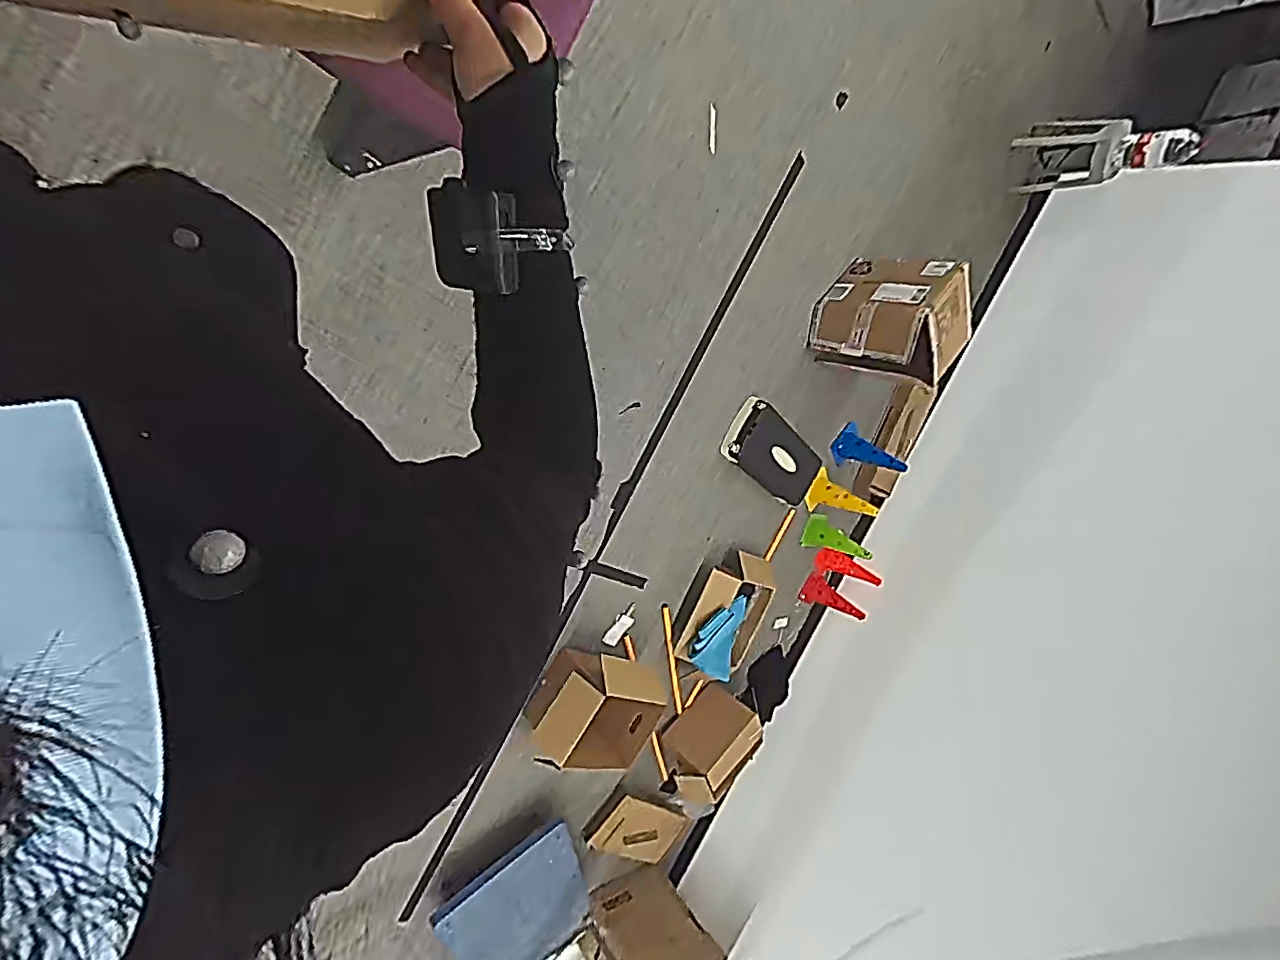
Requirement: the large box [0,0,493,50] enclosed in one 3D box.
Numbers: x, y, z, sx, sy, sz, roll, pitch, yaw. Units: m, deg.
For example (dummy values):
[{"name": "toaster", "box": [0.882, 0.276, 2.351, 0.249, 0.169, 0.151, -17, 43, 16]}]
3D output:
[{"name": "large box", "box": [-0.331, -0.447, 0.279, 0.408, 0.320, 0.320, -16, 126, -29]}]
